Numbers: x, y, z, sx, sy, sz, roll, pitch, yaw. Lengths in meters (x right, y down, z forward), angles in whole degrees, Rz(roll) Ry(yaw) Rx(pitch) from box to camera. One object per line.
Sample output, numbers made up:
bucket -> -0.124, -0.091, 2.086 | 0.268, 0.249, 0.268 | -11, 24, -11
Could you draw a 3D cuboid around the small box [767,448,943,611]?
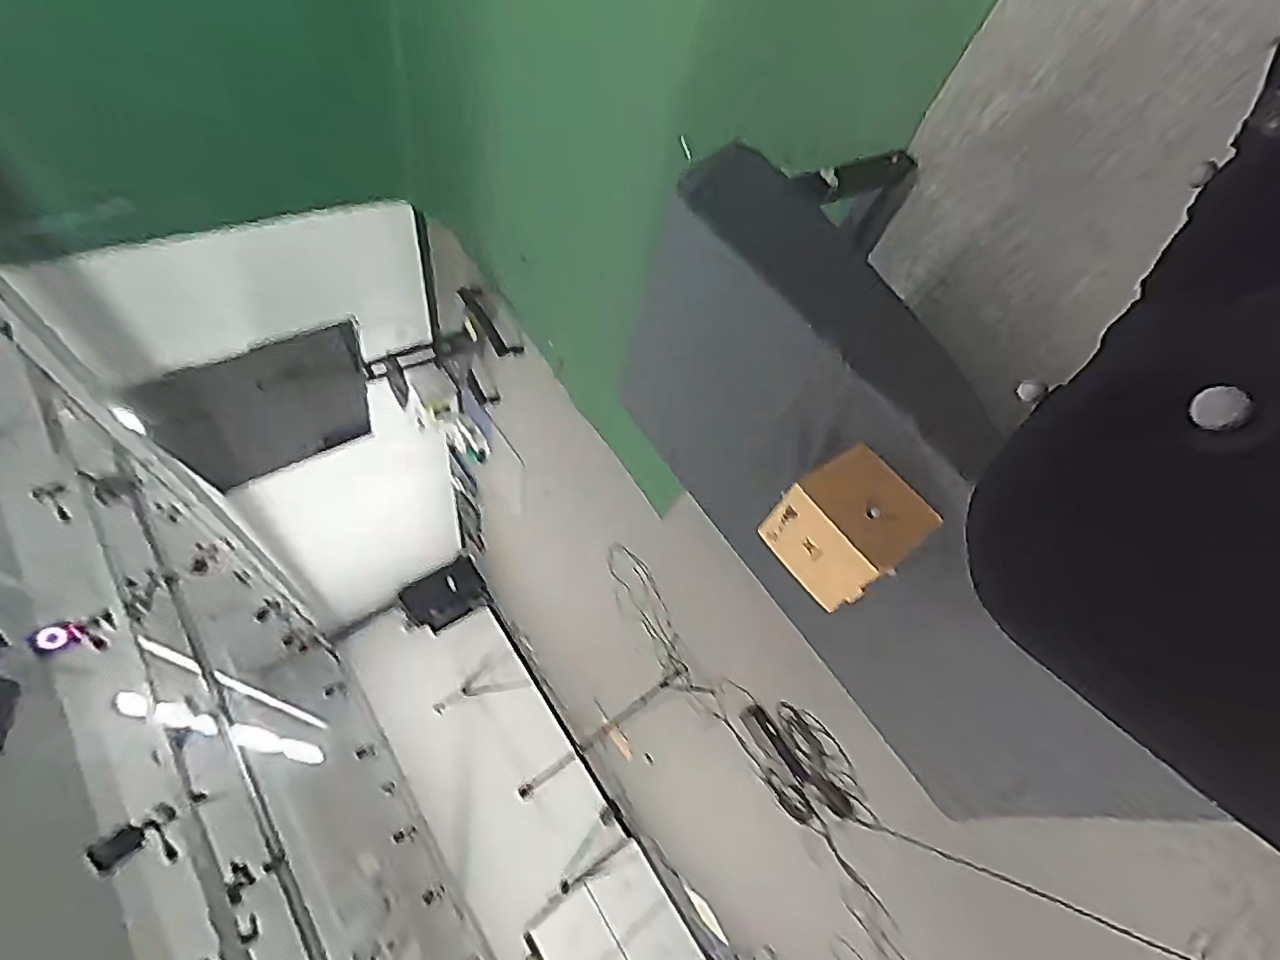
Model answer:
small box -> 0.349, 0.077, 0.889 | 0.179, 0.176, 0.168 | 50, 153, 24
